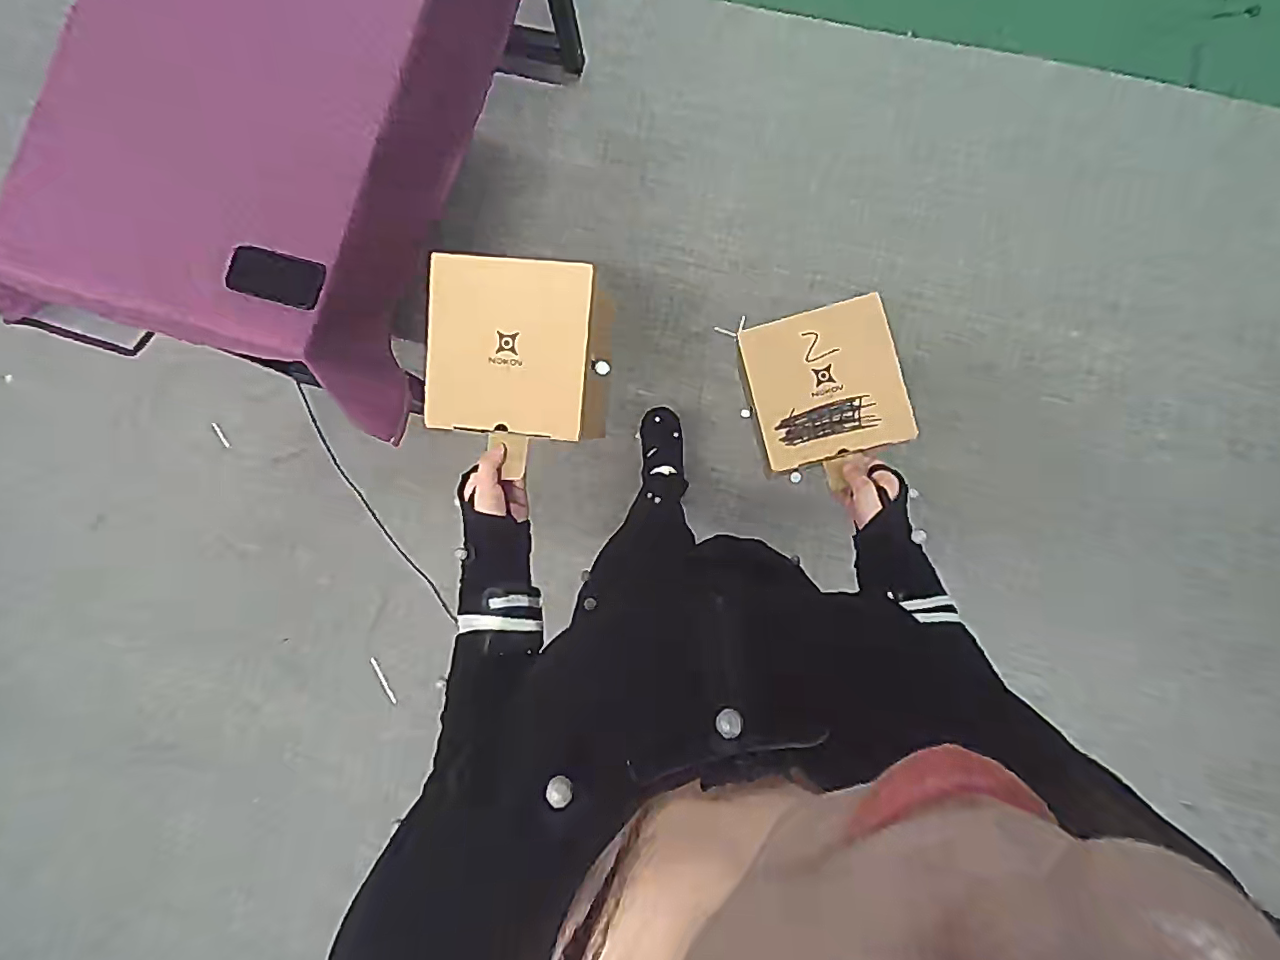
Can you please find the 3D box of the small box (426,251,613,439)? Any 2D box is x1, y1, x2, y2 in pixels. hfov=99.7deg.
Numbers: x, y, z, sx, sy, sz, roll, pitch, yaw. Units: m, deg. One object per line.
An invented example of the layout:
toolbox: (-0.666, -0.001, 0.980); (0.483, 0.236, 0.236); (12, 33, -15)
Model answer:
small box: (-0.127, -0.145, 0.629); (0.168, 0.176, 0.179); (7, 98, 4)
